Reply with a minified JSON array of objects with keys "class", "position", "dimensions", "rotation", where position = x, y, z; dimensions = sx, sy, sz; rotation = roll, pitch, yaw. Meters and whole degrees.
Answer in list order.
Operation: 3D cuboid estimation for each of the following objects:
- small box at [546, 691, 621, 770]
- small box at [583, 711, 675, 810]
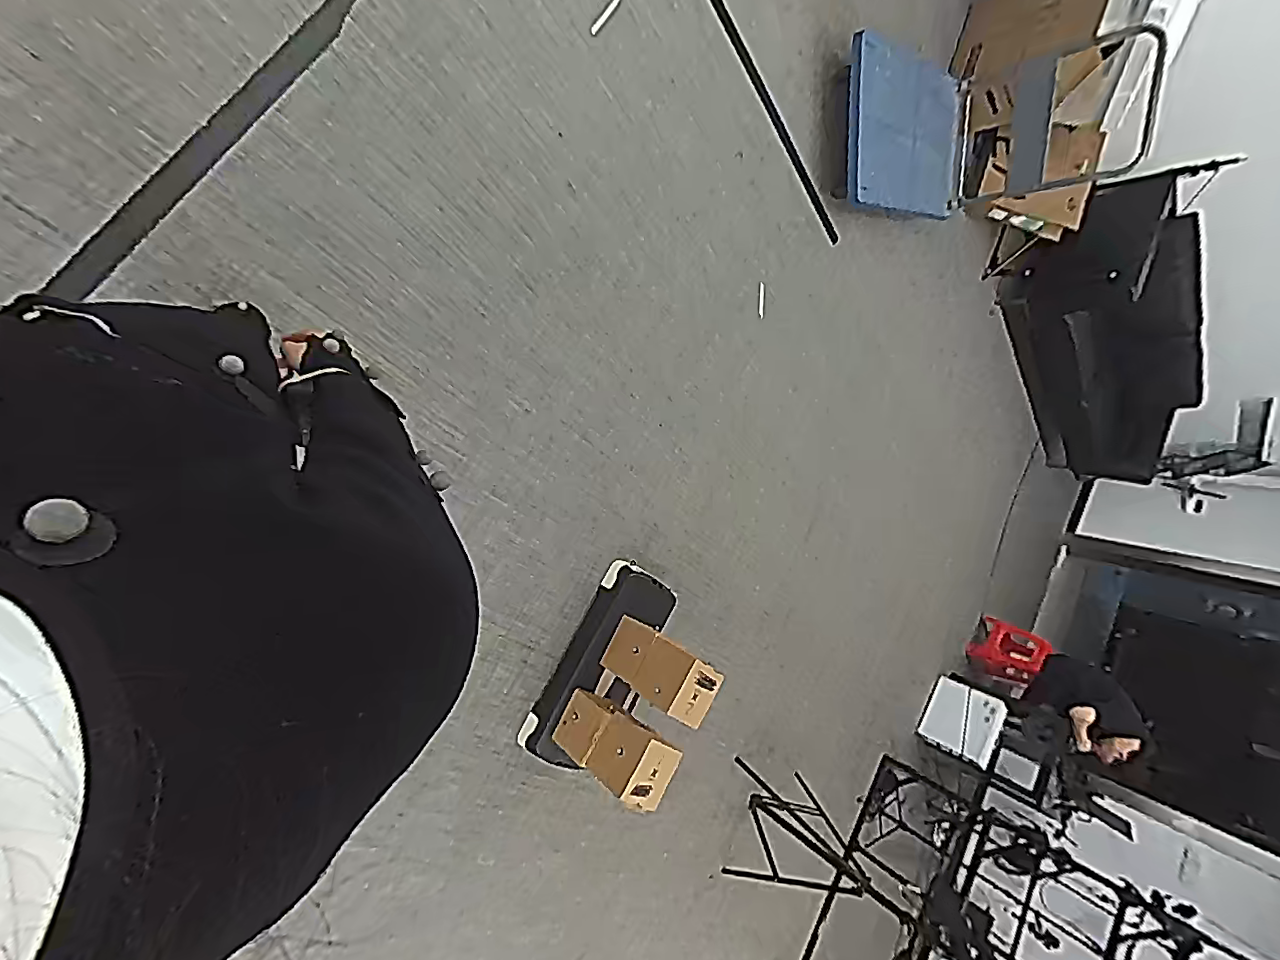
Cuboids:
[{"class":"small box","position":[-0.155,0.779,1.677],"dimensions":[0.179,0.176,0.168],"rotation":[37,75,-38]},{"class":"small box","position":[-0.039,0.807,1.563],"dimensions":[0.168,0.176,0.179],"rotation":[43,71,-37]}]
